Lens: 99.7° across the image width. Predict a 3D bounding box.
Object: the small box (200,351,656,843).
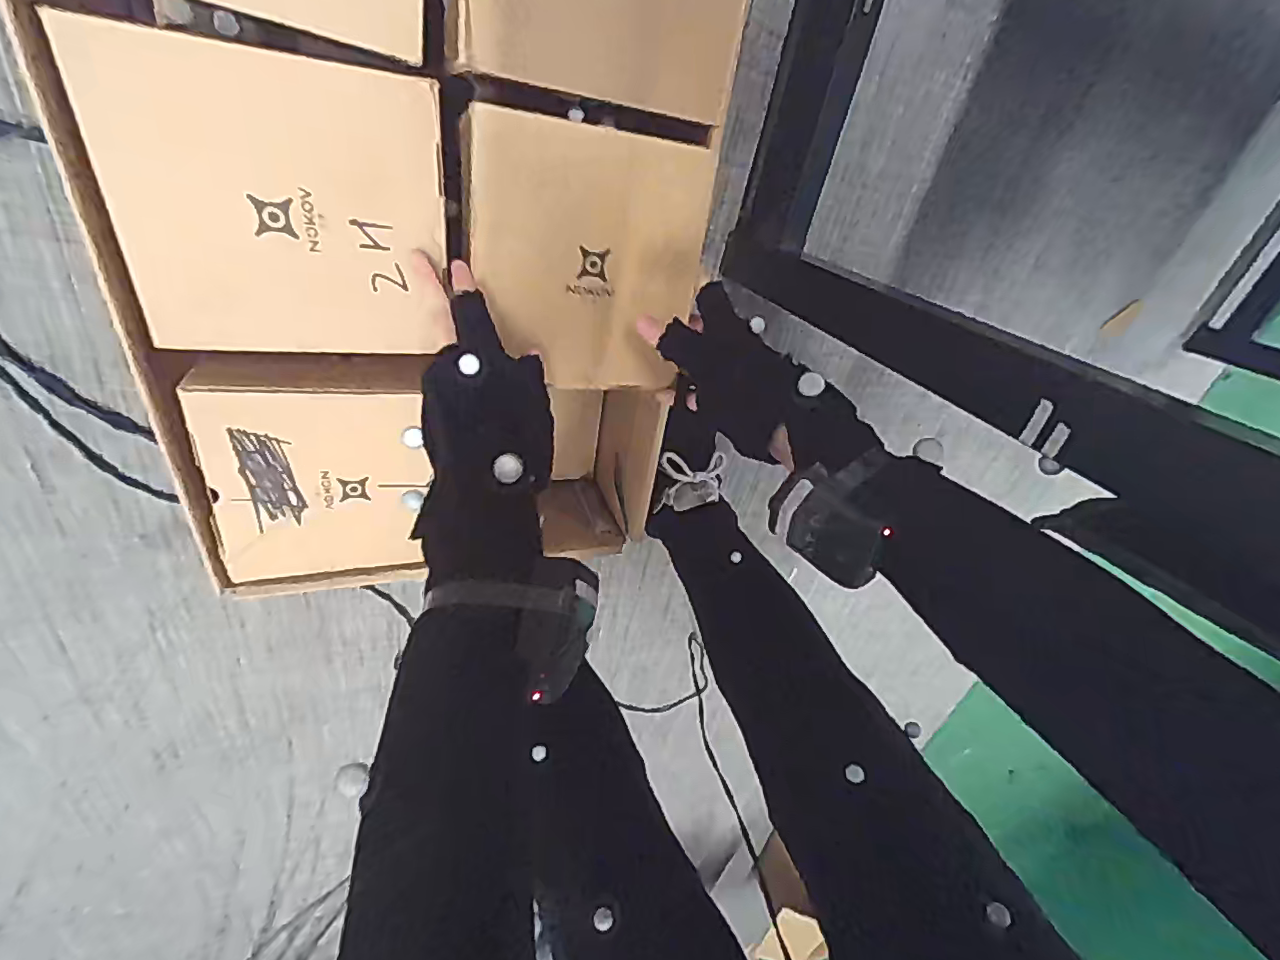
[{"bbox_3d":[-0.127,0.048,0.296,0.176,0.179,0.168,1,128,-37],"label":"small box"}]
